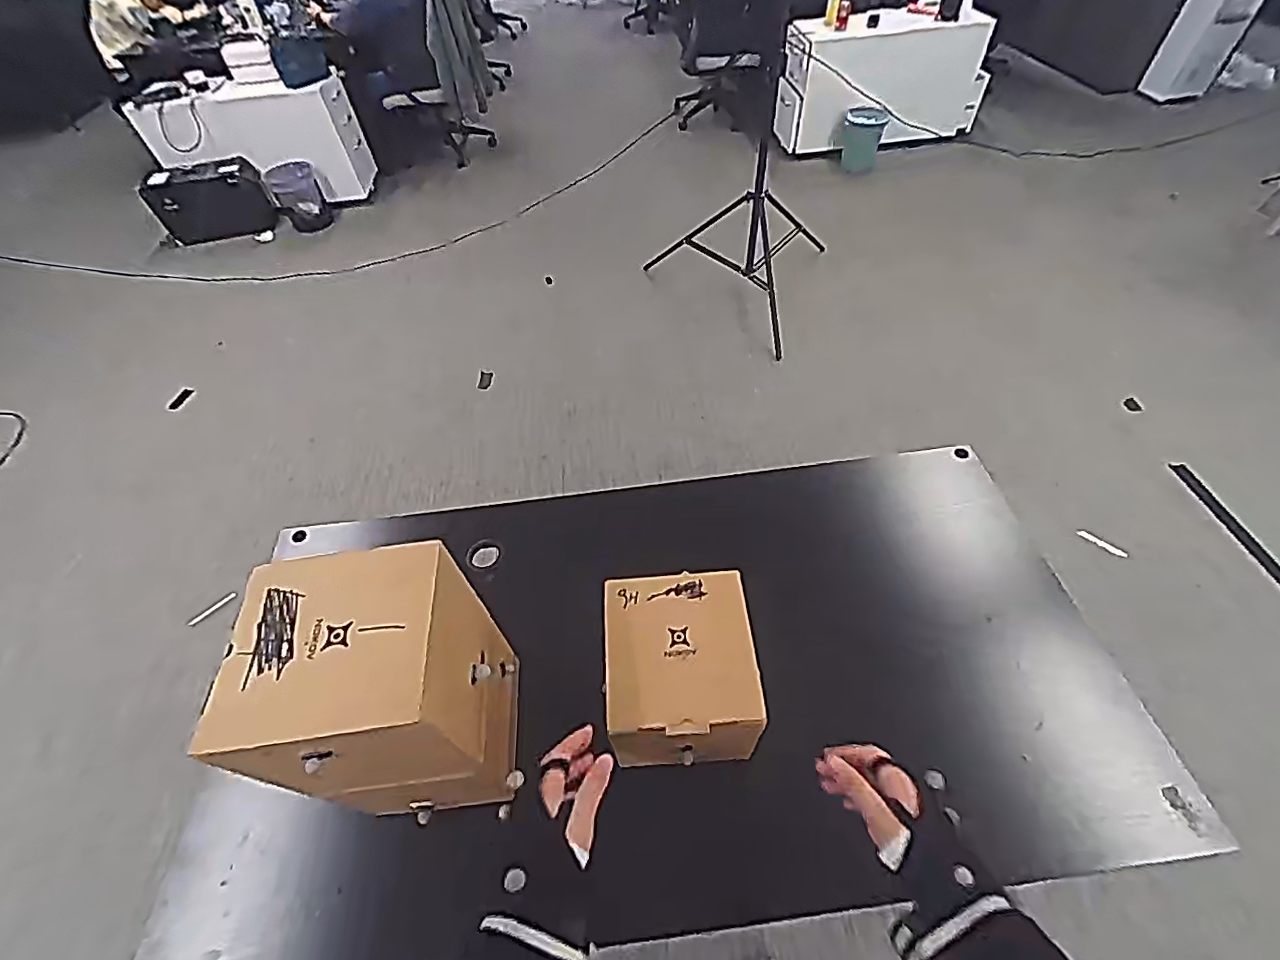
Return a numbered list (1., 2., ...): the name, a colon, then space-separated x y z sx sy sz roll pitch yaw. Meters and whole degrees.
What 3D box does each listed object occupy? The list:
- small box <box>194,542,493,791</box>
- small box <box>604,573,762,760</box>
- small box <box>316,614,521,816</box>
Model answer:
1. small box: -0.254 0.183 0.518 0.179 0.176 0.168 -8 51 -2
2. small box: 0.047 0.235 0.664 0.168 0.176 0.179 -4 52 1
3. small box: -0.244 0.283 0.648 0.168 0.176 0.179 -8 52 -1
